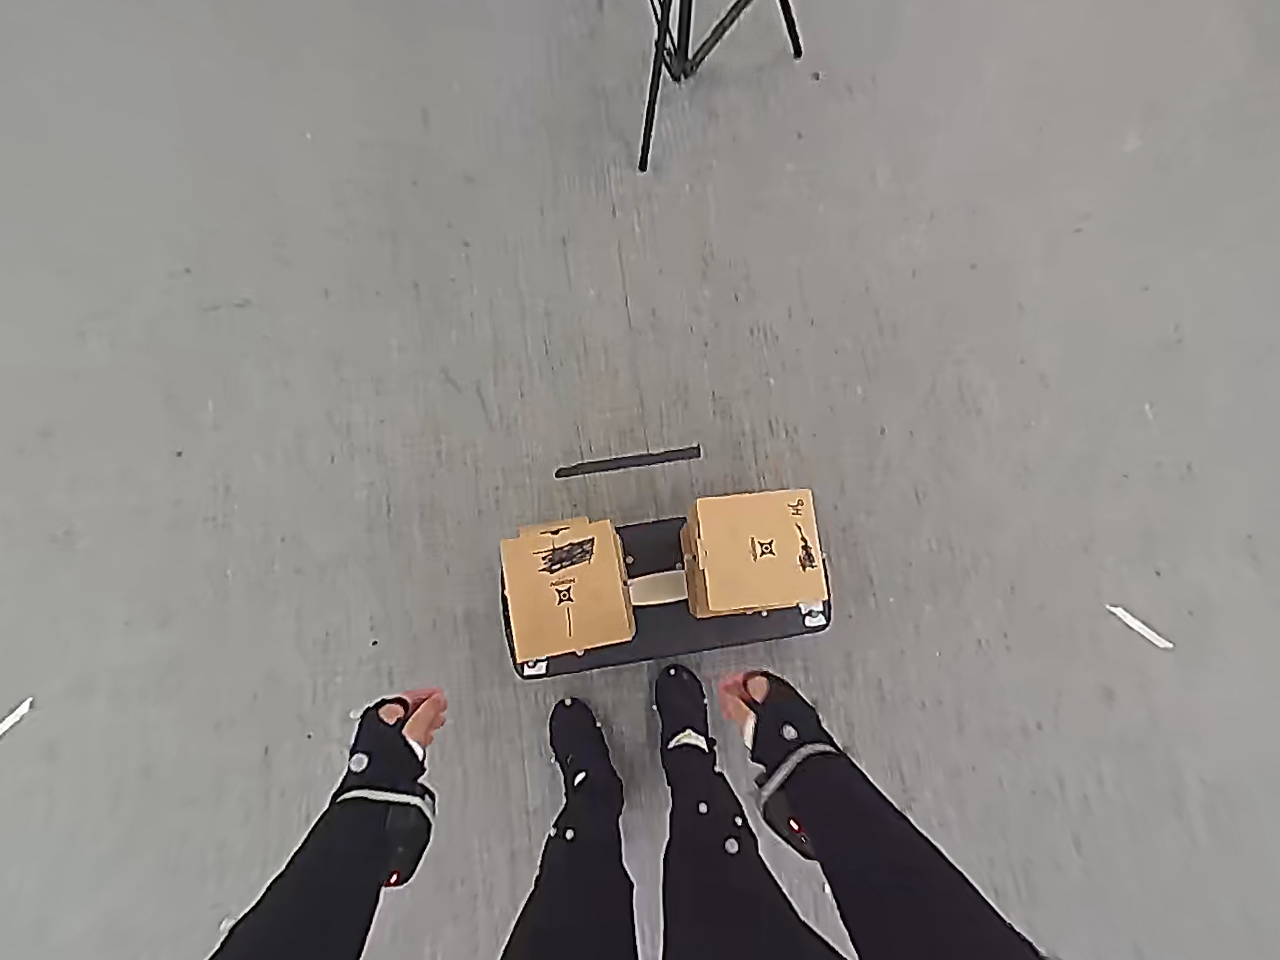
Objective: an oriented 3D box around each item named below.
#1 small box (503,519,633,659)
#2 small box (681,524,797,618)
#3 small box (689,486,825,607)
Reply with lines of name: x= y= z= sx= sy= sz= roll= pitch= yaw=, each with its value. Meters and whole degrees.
small box: x=-0.107 y=0.168 z=0.846 sx=0.168 sy=0.176 sz=0.179 roll=-11 pitch=80 yaw=-2
small box: x=0.173 y=0.161 z=1.016 sx=0.179 sy=0.176 sz=0.168 roll=-9 pitch=78 yaw=-2
small box: x=0.173 y=0.111 z=0.861 sx=0.179 sy=0.176 sz=0.168 roll=-6 pitch=79 yaw=0
